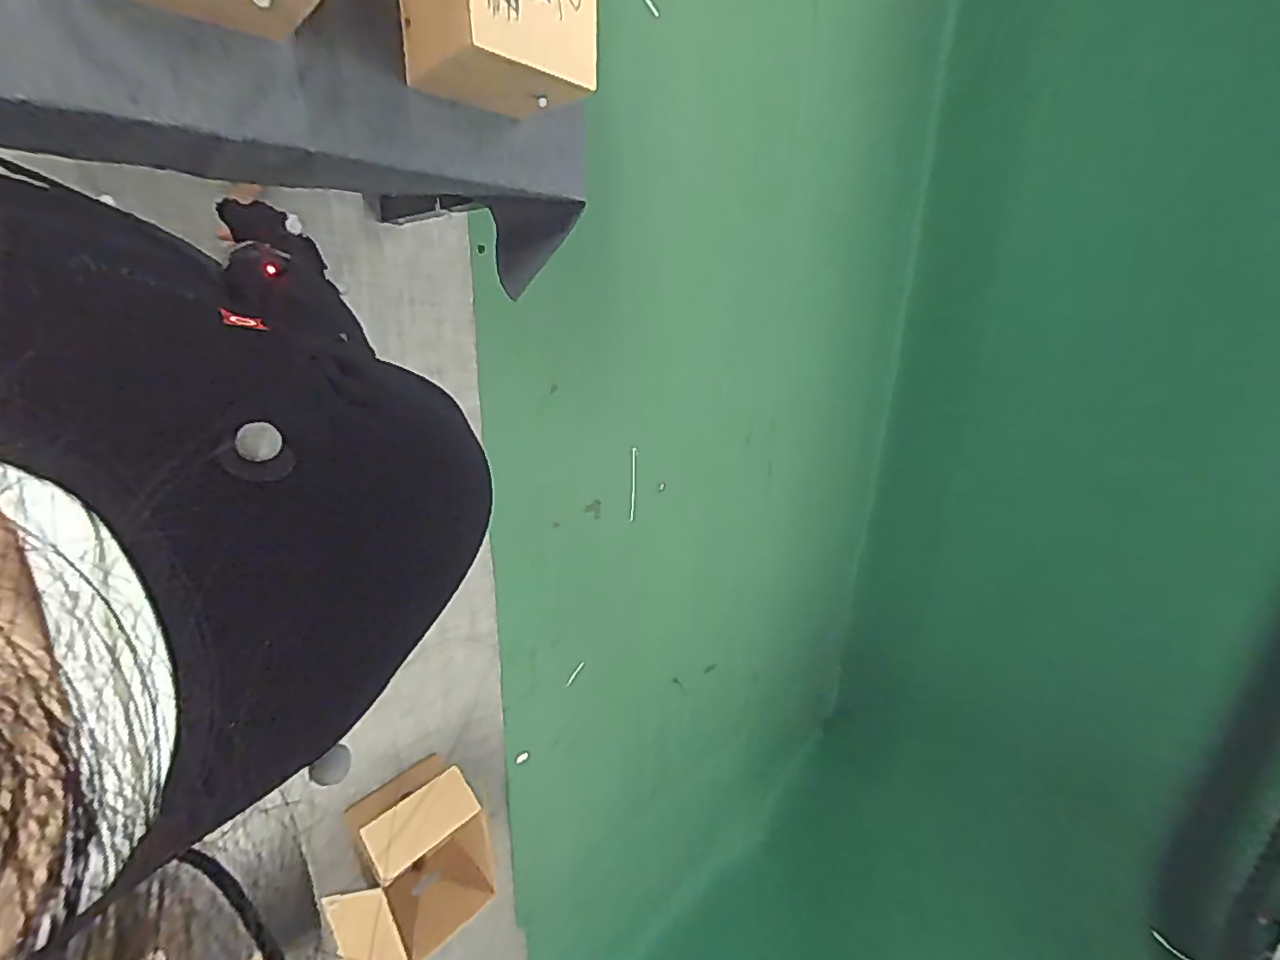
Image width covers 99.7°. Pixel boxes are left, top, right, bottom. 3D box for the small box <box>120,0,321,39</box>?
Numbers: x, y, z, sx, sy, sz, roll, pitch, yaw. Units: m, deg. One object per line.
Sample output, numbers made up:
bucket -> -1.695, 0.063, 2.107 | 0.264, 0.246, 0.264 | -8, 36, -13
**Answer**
small box -> -0.393, -0.511, 0.452 | 0.179, 0.176, 0.168 | -16, 113, -42
